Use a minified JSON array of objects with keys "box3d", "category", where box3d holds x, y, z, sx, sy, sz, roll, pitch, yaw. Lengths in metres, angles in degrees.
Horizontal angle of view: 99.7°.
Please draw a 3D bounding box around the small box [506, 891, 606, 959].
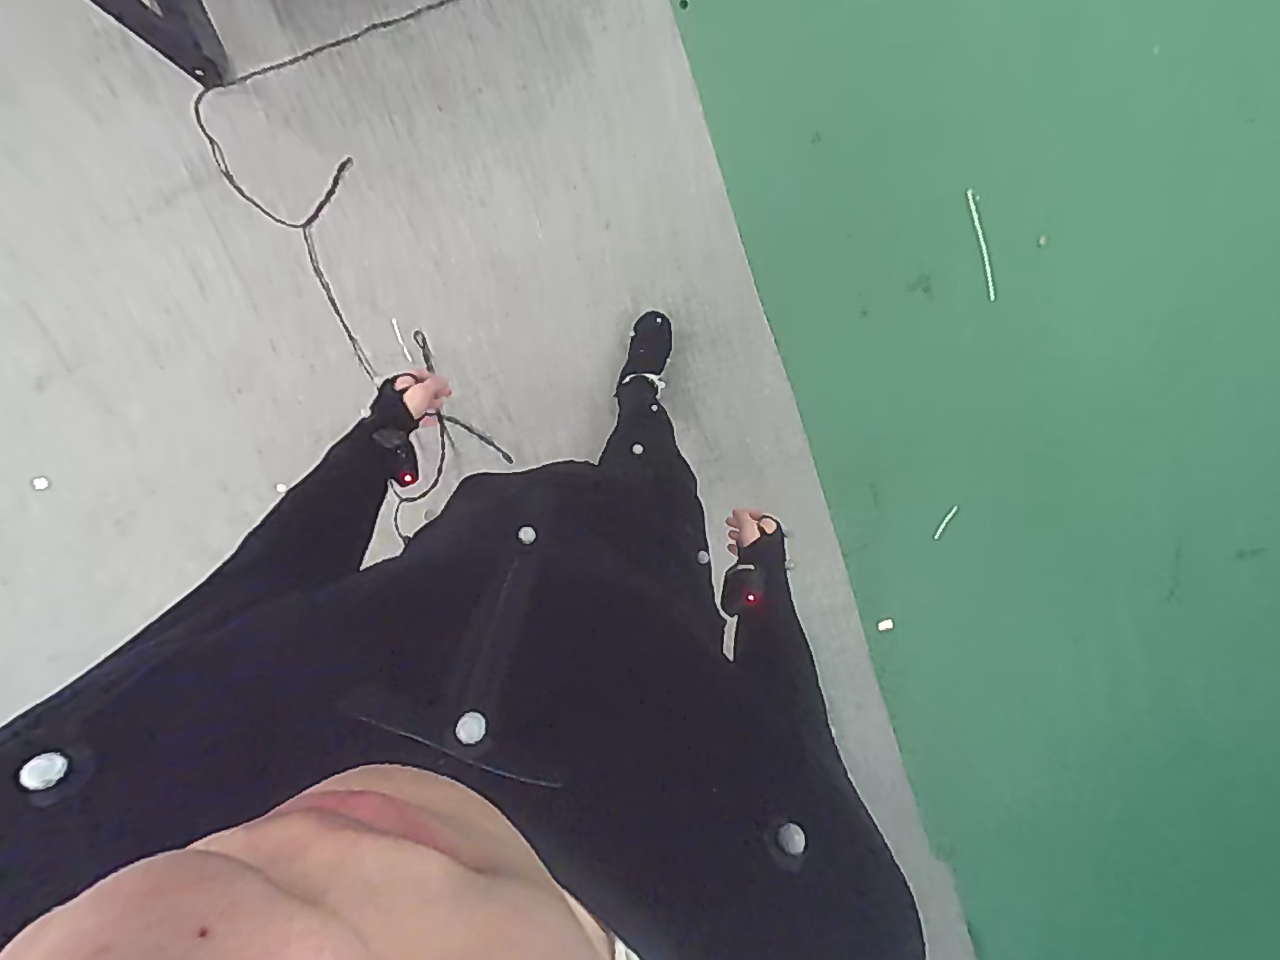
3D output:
[{"box3d":[-0.169,0.983,1.100,0.168,0.176,0.179,-16,101,-1],"category":"small box"}]
